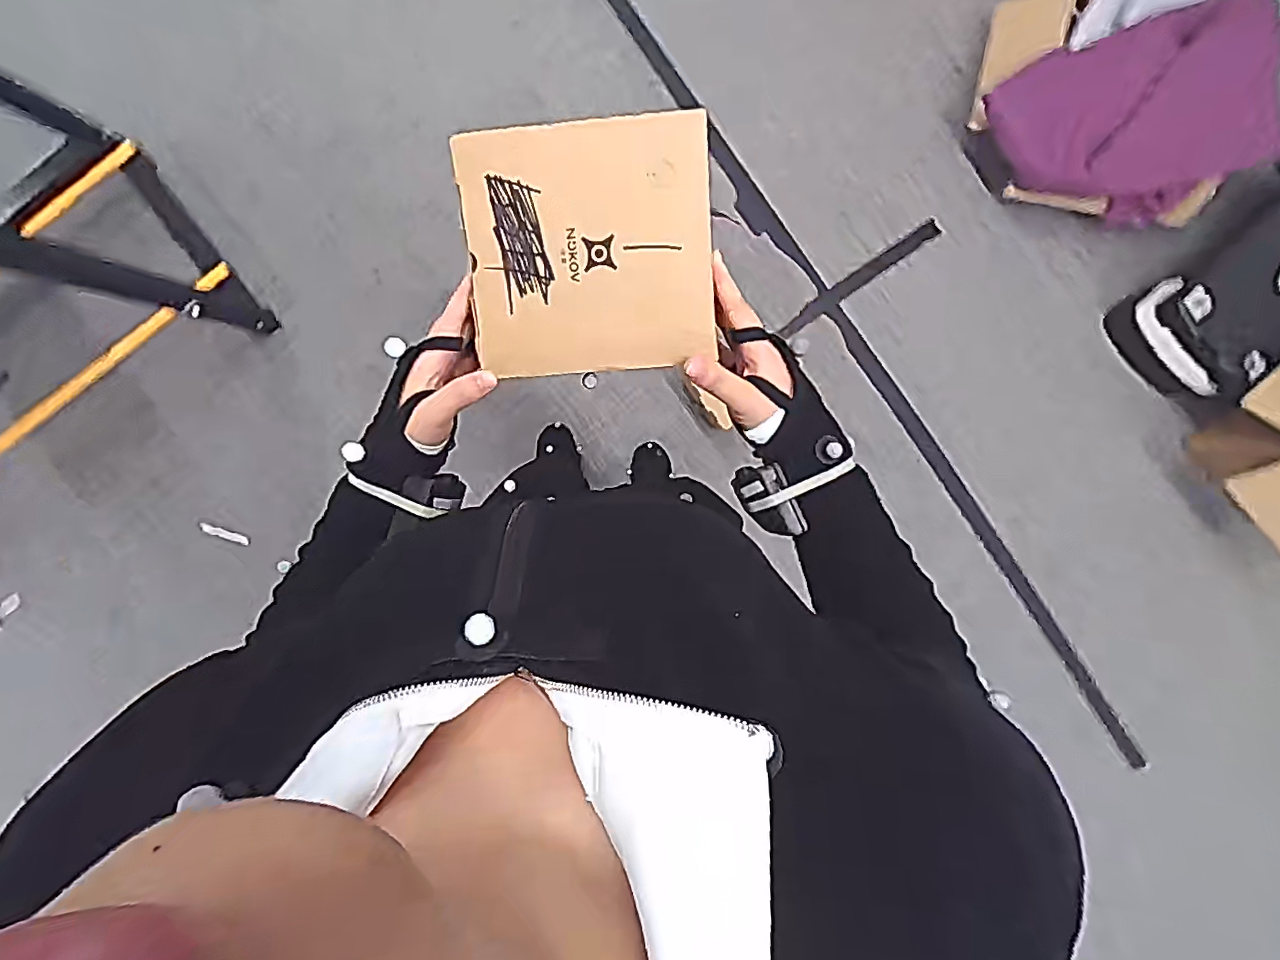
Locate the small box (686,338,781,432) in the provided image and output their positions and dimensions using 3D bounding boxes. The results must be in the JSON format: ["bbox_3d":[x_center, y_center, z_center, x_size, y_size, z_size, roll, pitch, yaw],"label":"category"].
[{"bbox_3d":[0.230,-0.235,1.383,0.179,0.176,0.168,-33,94,5],"label":"small box"}]

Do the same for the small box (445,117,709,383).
[{"bbox_3d":[-0.037,-0.172,0.456,0.179,0.176,0.168,-4,103,3],"label":"small box"}]
